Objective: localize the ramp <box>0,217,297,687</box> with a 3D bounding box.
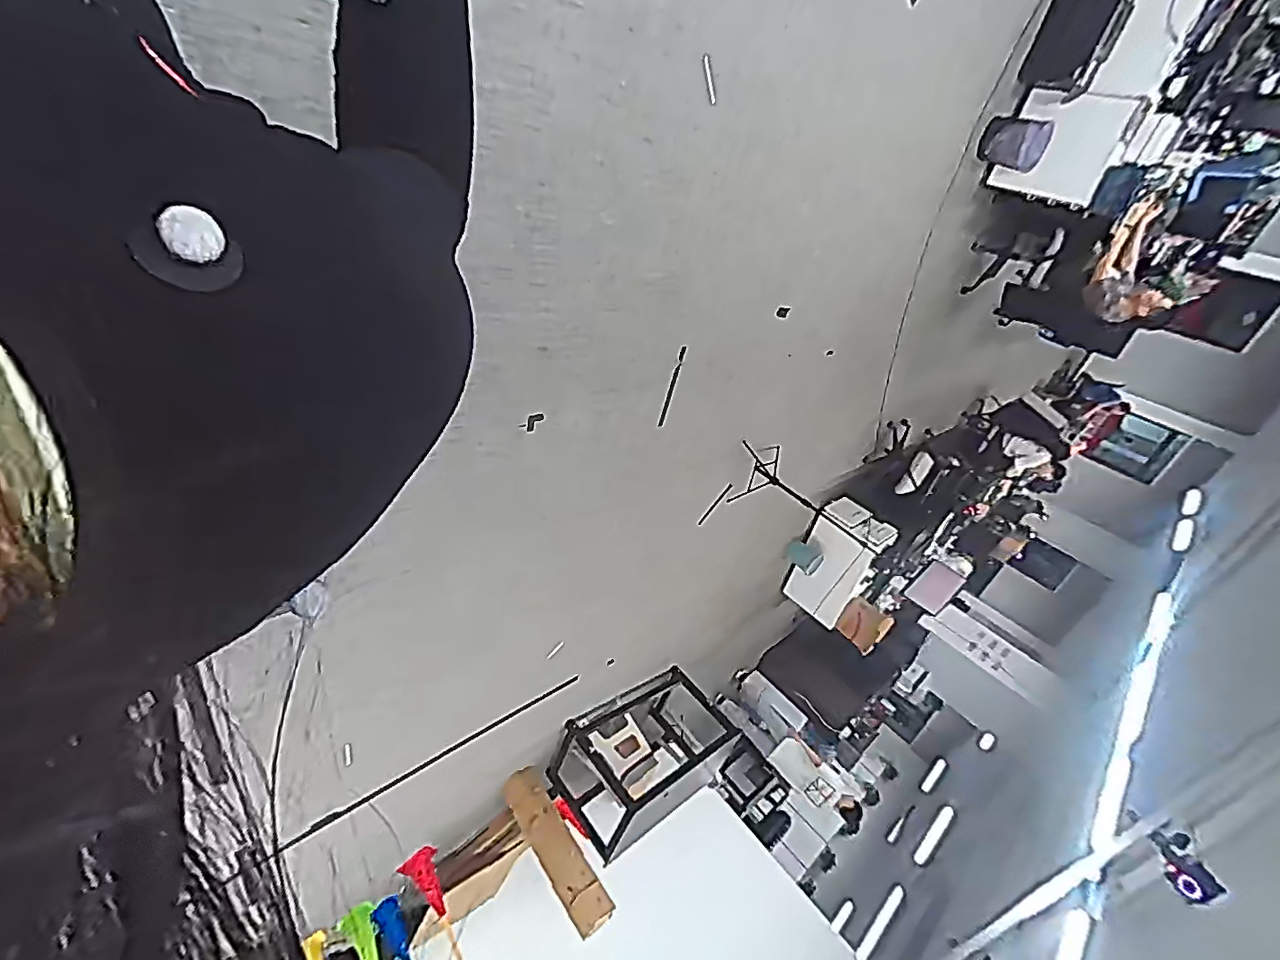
[{"bbox_3d":[-1.122,-0.026,1.198,0.509,0.206,0.991,-17,133,-39],"label":"ramp"}]
